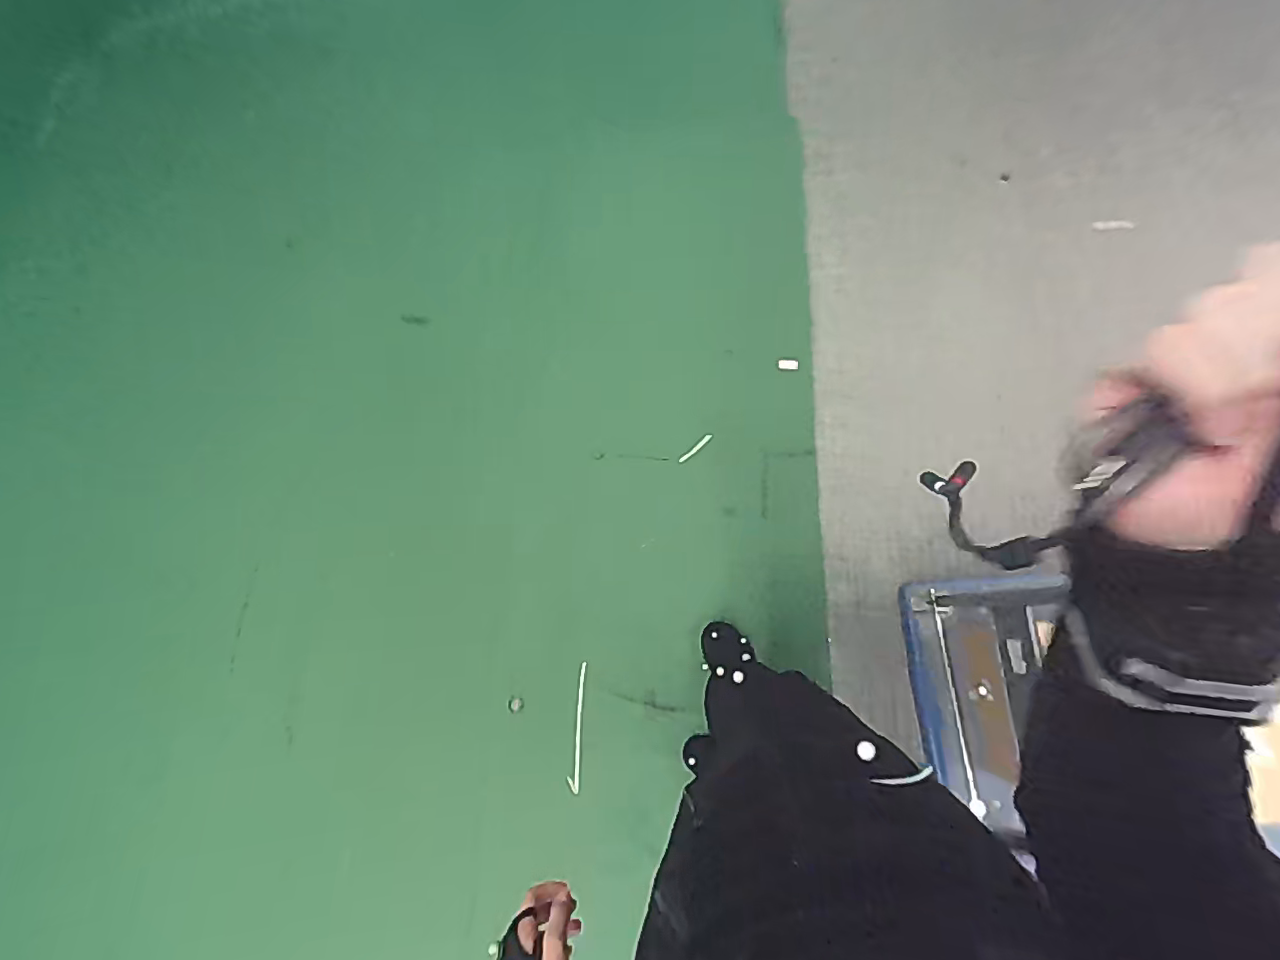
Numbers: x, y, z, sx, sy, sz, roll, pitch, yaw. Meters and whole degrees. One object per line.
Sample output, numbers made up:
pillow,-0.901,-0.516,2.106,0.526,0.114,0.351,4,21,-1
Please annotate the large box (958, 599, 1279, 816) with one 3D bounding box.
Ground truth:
large box,0.902,0.403,1.018,0.408,0.320,0.320,-5,75,5
